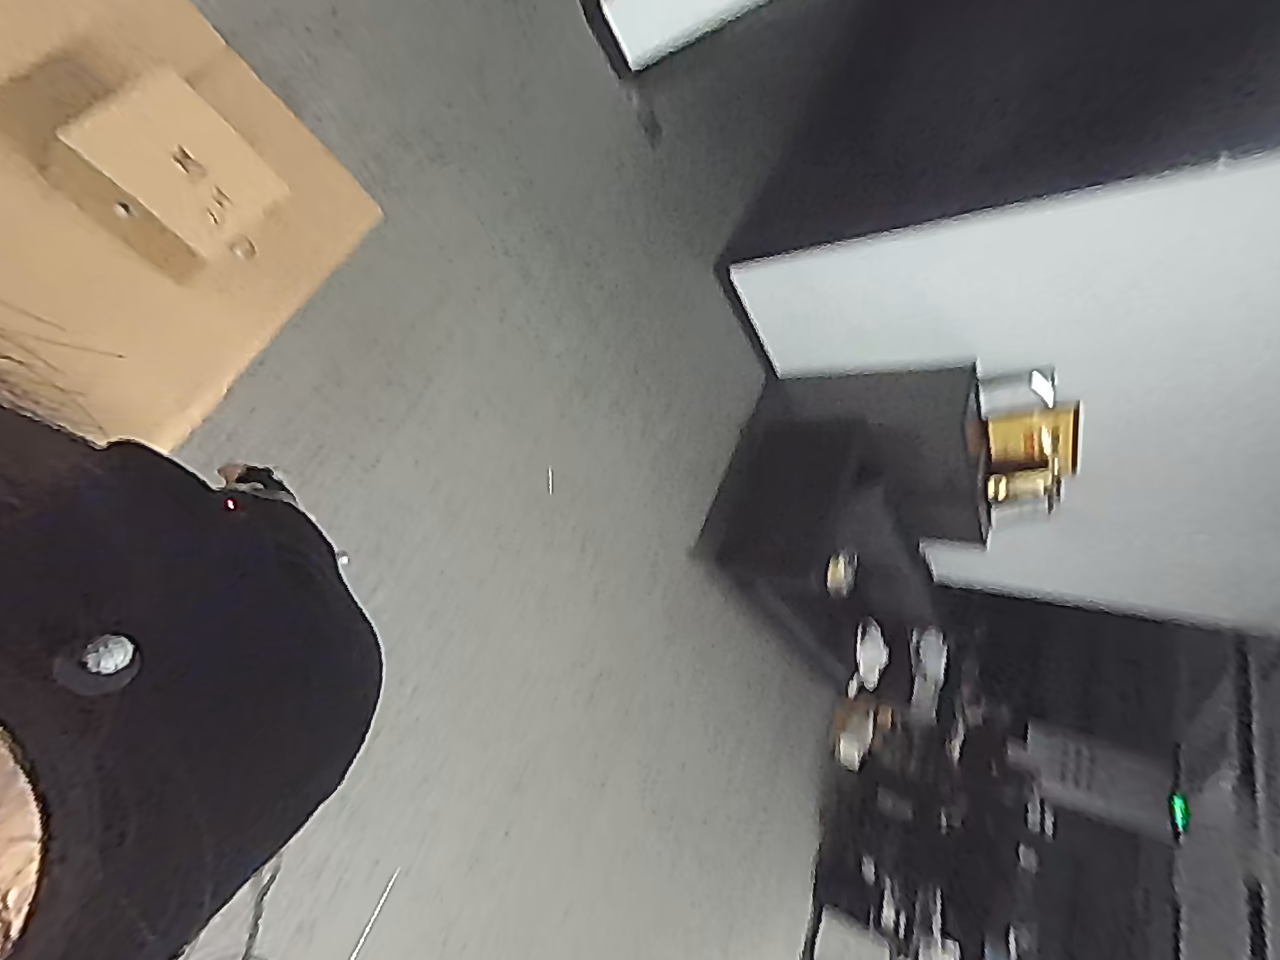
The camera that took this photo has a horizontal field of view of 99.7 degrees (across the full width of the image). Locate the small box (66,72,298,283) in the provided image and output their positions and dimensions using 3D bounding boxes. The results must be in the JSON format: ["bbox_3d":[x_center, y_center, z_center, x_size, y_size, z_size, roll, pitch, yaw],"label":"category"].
[{"bbox_3d":[-0.633,-0.403,0.750,0.179,0.176,0.168,50,57,-39],"label":"small box"}]
